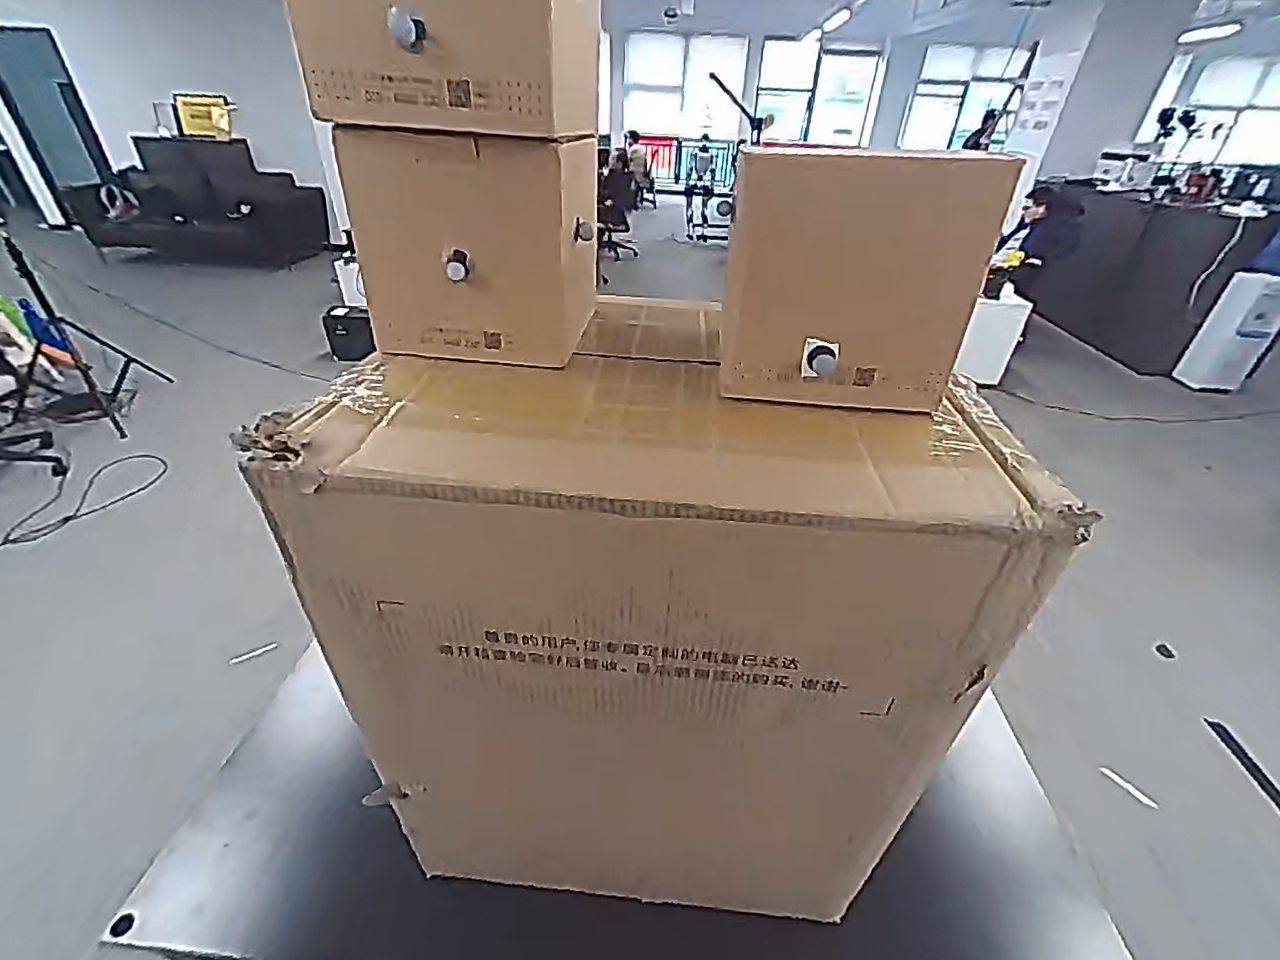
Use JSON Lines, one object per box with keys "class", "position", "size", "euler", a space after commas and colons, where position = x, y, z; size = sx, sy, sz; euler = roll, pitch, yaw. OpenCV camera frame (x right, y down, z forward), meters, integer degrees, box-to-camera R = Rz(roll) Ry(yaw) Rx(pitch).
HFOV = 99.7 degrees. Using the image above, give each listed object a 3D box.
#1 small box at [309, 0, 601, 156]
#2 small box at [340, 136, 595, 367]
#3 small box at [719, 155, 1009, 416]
{"class": "small box", "position": [-0.123, -0.343, 0.393], "size": [0.168, 0.176, 0.179], "euler": [6, 34, 3]}
{"class": "small box", "position": [-0.133, -0.214, 0.498], "size": [0.168, 0.176, 0.179], "euler": [5, 34, 2]}
{"class": "small box", "position": [0.155, -0.169, 0.451], "size": [0.168, 0.176, 0.179], "euler": [3, 34, 5]}
